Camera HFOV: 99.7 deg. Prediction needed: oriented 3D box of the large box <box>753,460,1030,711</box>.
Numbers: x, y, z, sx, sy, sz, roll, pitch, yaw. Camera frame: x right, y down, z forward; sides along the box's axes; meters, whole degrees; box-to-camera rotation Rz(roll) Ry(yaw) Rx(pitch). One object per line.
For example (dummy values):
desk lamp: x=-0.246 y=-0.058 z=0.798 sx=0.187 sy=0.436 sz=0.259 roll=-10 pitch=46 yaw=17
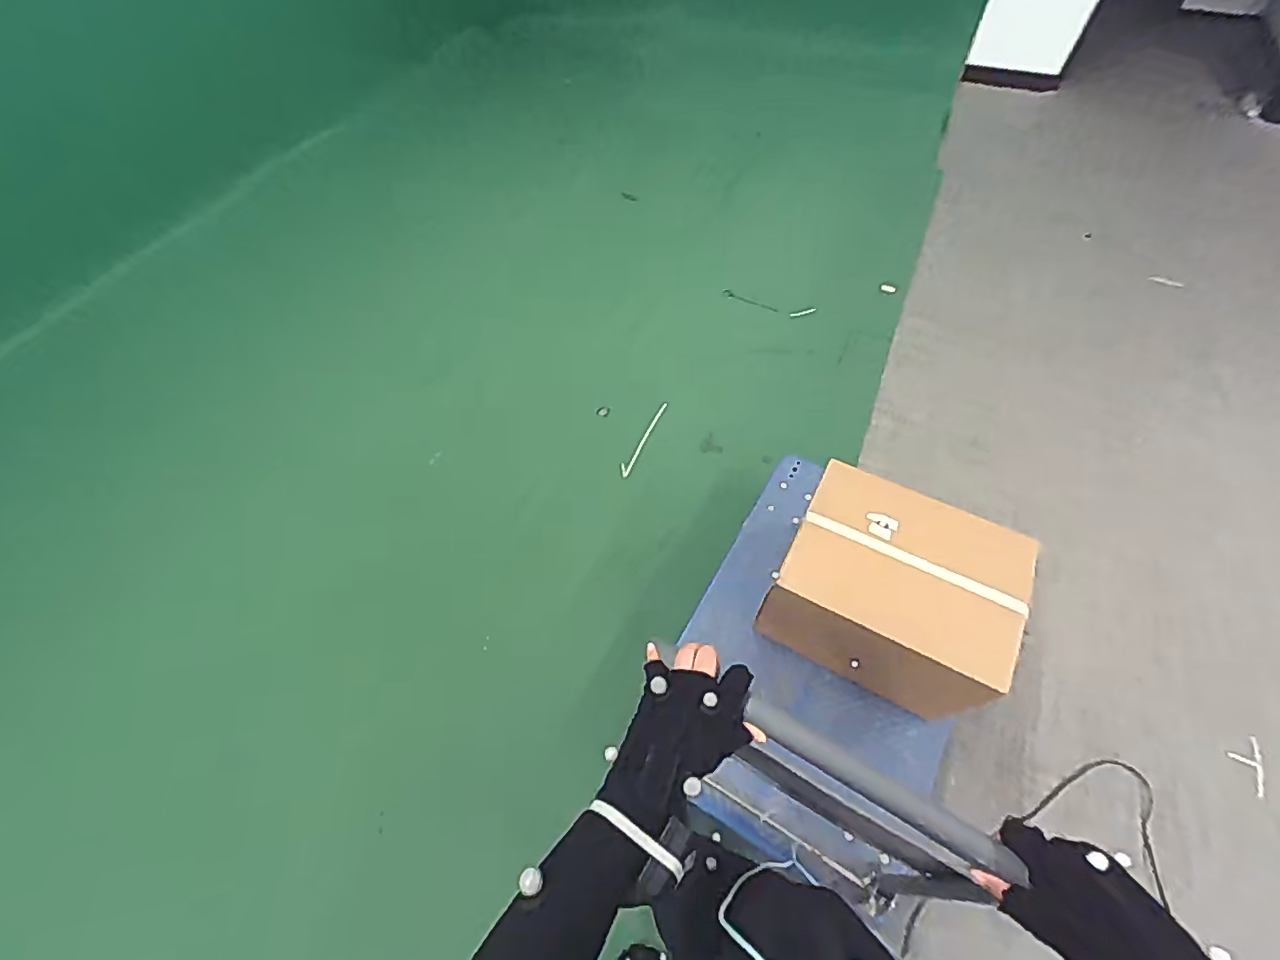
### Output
large box: x=0.494 y=0.225 z=1.128 sx=0.408 sy=0.320 sz=0.320 roll=25 pitch=63 yaw=18
